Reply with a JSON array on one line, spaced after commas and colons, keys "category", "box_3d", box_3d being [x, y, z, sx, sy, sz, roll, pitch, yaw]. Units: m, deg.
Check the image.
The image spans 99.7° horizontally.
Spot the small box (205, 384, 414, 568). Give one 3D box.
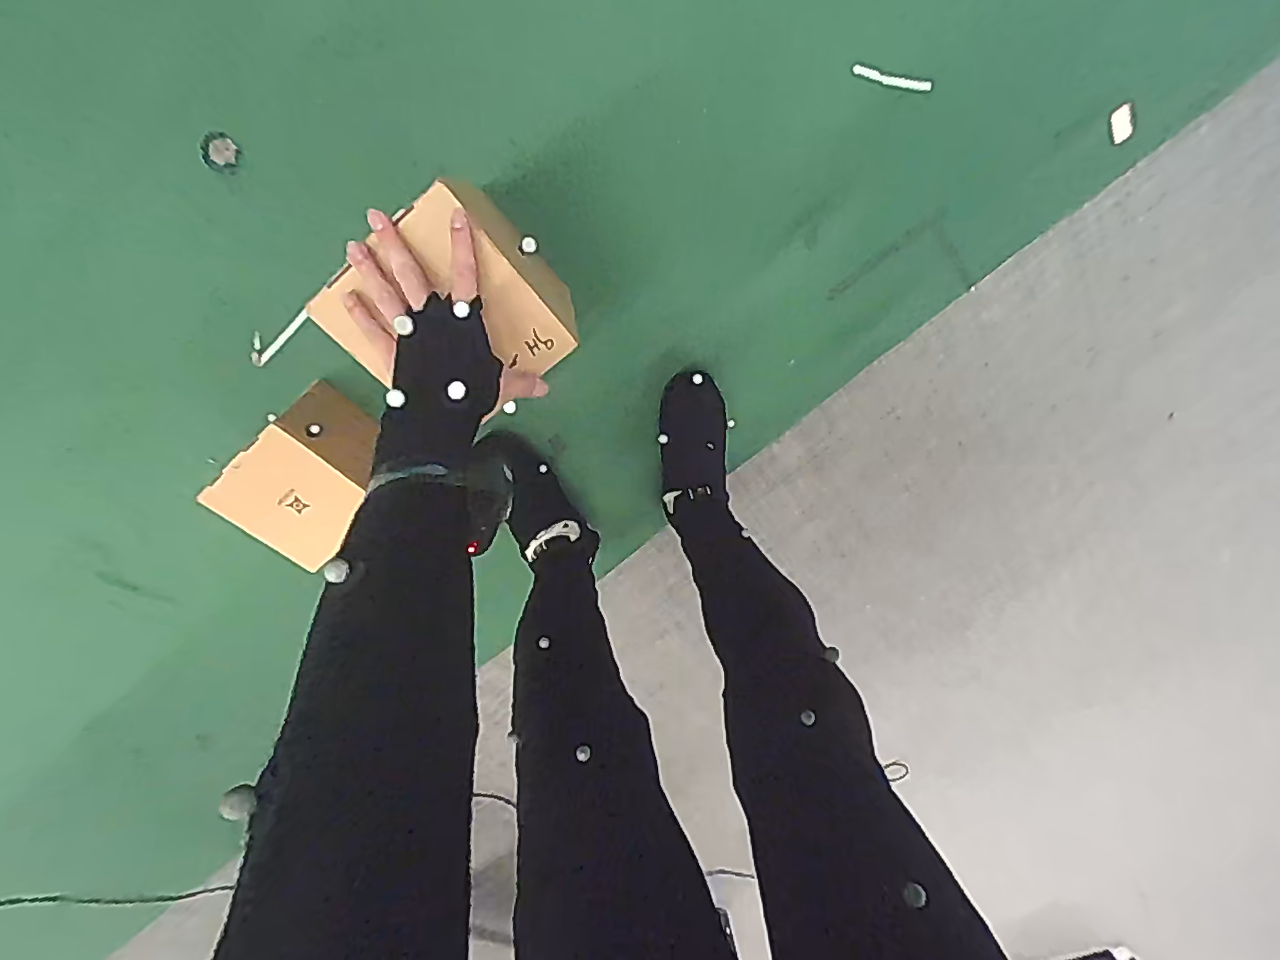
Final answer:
[{"category": "small box", "box_3d": [-0.467, -0.012, 0.798, 0.168, 0.176, 0.179, -38, 117, 13]}]

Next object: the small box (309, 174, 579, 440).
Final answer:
[{"category": "small box", "box_3d": [-0.182, -0.178, 0.555, 0.168, 0.176, 0.179, -36, 118, 12]}]
